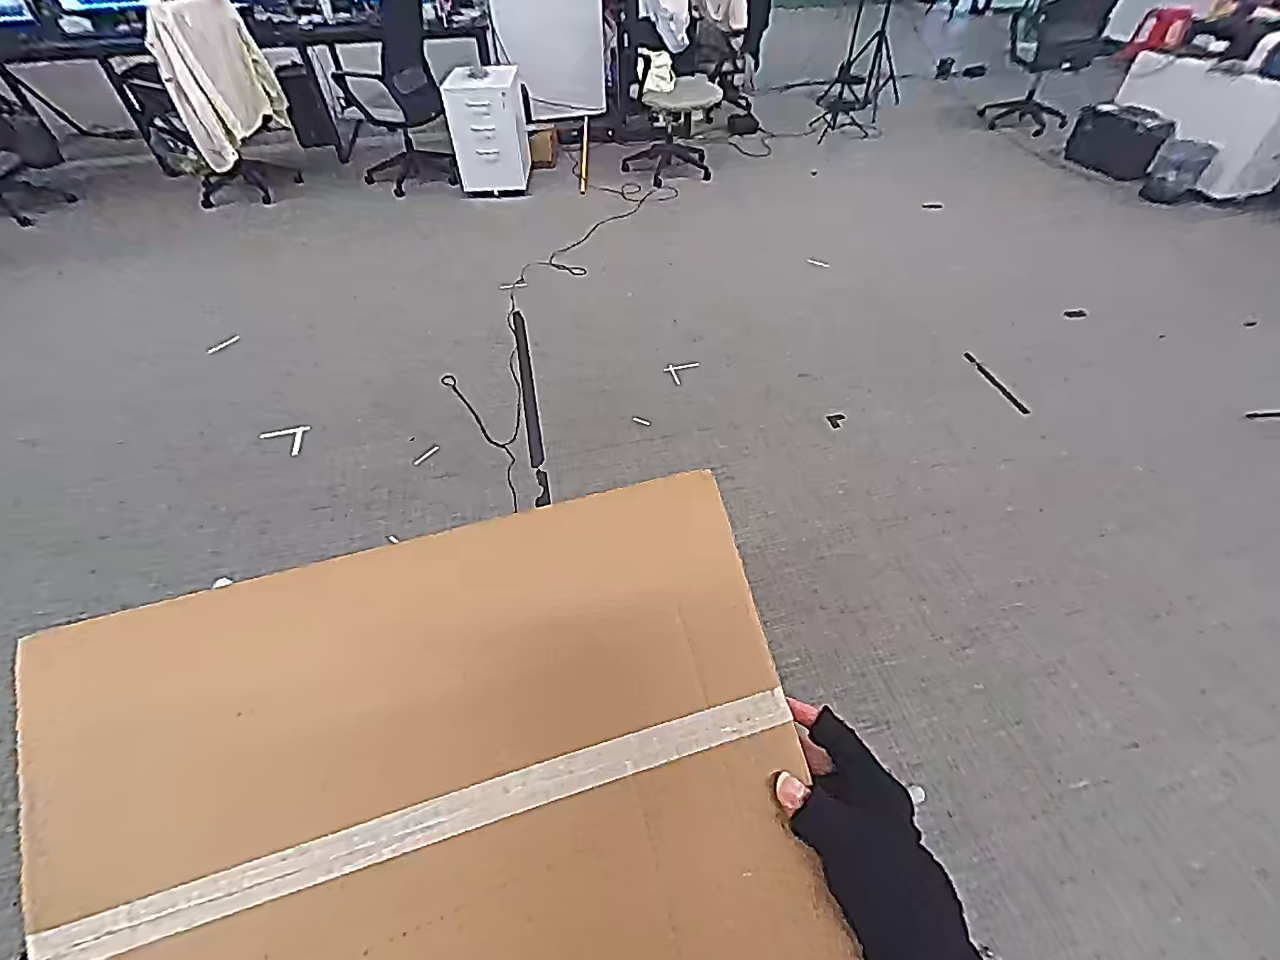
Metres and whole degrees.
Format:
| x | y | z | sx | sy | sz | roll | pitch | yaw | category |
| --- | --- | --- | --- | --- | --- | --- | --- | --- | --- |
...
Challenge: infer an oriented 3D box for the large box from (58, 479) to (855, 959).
| x | y | z | sx | sy | sz | roll | pitch | yaw | category |
| --- | --- | --- | --- | --- | --- | --- | --- | --- | --- |
| -0.120 | 0.228 | 0.453 | 0.408 | 0.320 | 0.320 | -14 | 79 | -9 | large box |
